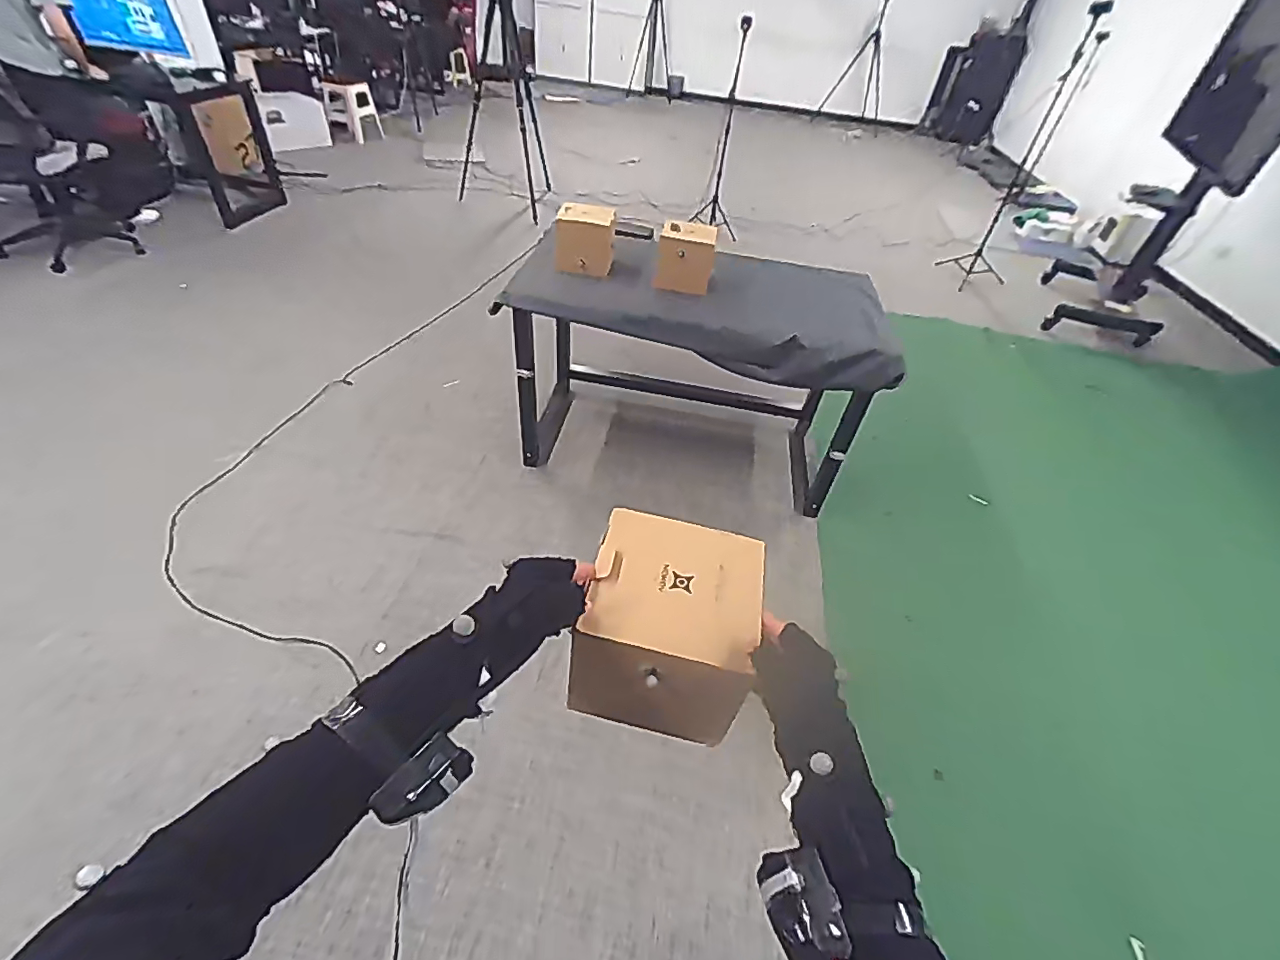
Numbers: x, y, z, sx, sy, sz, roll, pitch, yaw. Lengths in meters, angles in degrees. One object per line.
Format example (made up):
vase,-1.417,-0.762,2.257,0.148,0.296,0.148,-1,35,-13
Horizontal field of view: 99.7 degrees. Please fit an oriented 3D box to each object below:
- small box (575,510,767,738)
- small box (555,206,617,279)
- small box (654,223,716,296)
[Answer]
small box,0.032,0.163,0.606,0.179,0.176,0.168,14,43,2
small box,-0.182,-0.788,1.800,0.179,0.176,0.168,9,43,0
small box,0.145,-0.721,1.777,0.179,0.176,0.168,11,43,2
